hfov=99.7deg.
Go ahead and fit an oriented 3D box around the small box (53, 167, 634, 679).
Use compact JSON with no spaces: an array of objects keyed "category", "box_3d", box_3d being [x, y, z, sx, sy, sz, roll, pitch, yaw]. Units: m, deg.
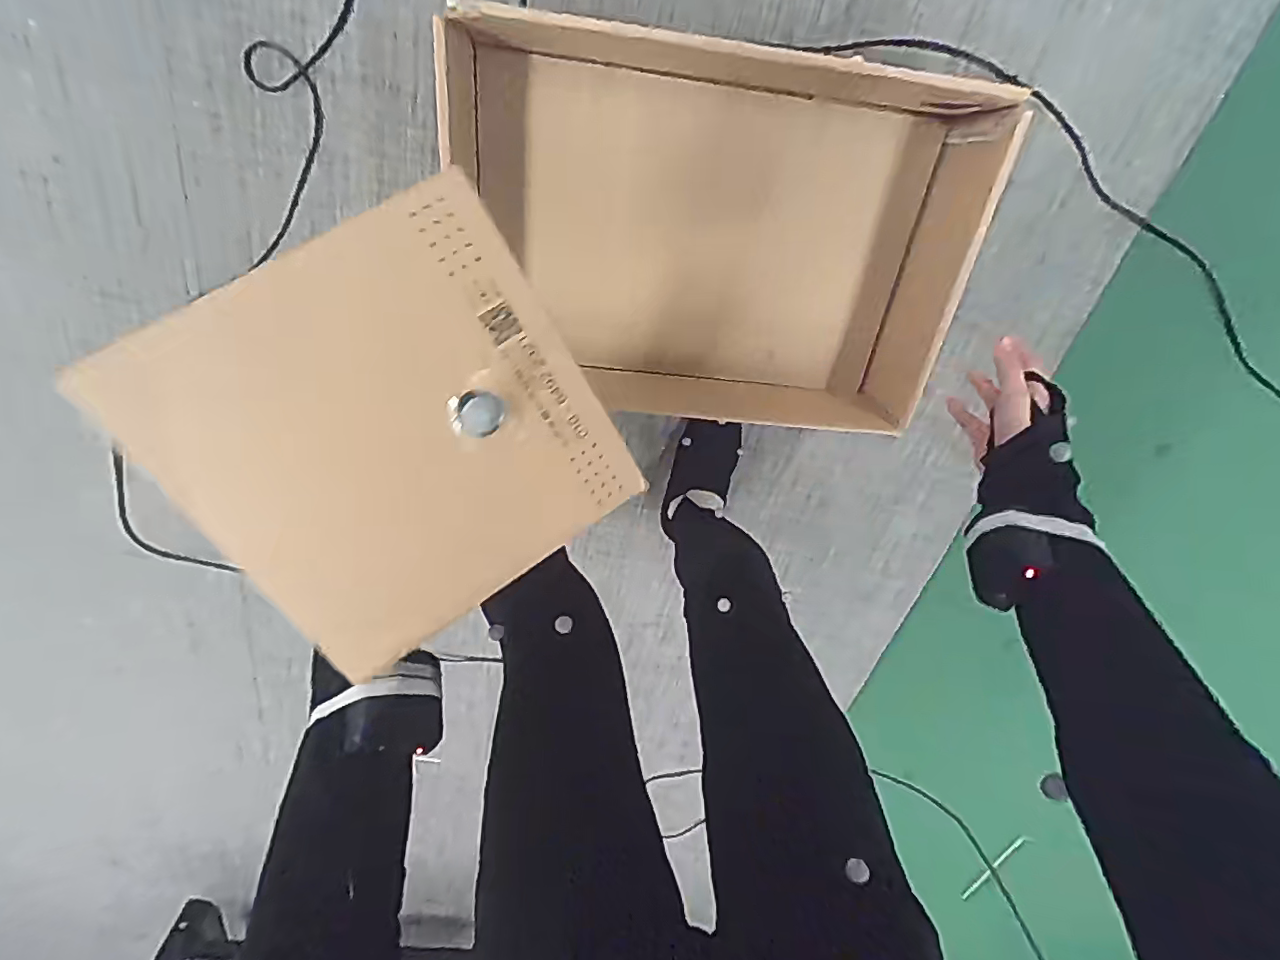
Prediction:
[{"category":"small box","box_3d":[-0.127,-0.036,0.305,0.176,0.179,0.168,-36,111,-10]}]
